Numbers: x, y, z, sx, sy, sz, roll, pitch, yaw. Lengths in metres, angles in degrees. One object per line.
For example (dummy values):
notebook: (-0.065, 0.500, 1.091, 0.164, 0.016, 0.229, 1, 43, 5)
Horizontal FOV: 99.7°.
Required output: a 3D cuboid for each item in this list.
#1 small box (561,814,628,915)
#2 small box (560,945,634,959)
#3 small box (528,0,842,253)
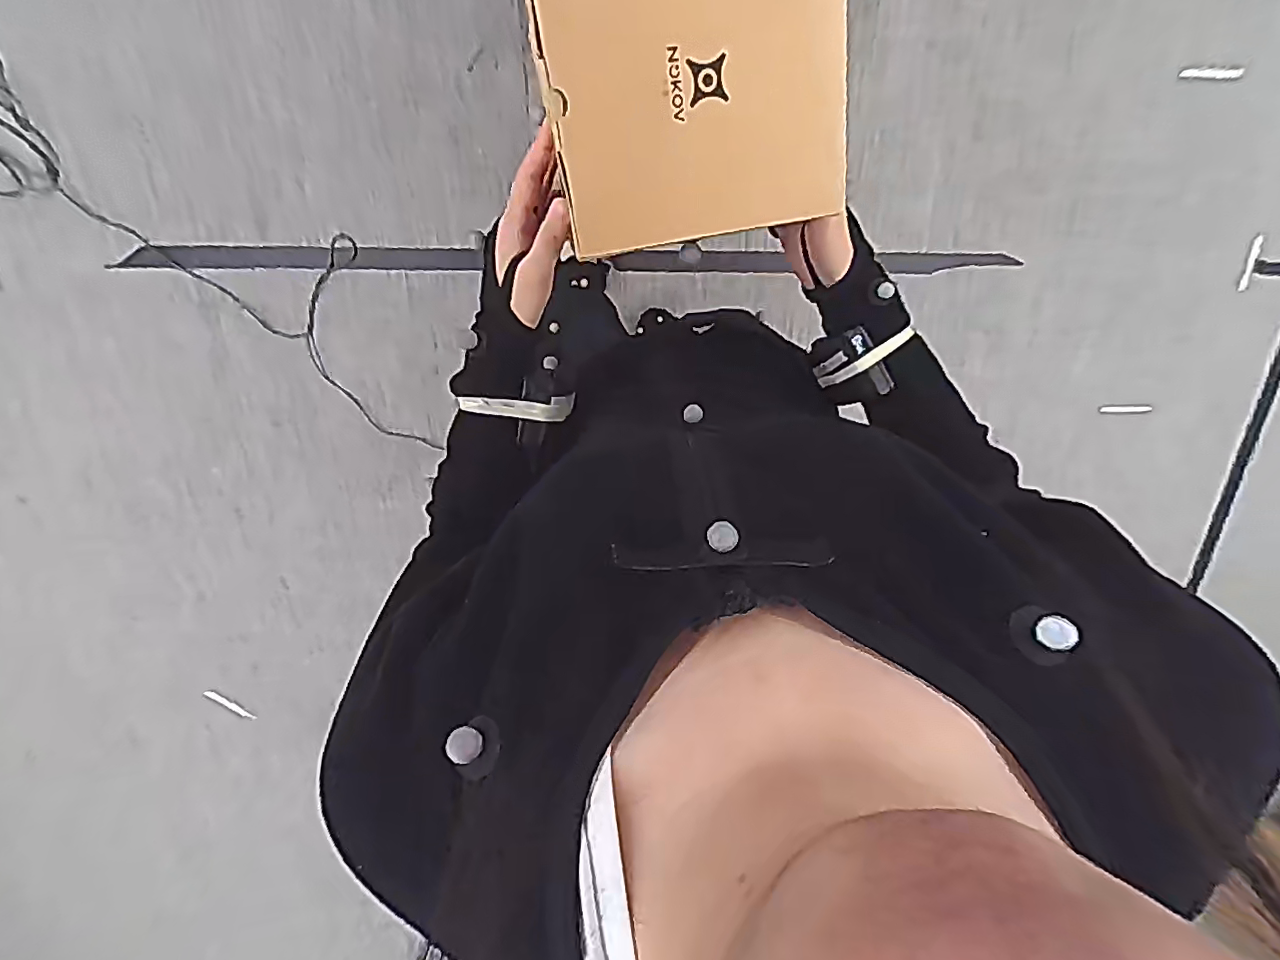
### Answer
small box: (-0.125, 1.064, 1.506, 0.179, 0.176, 0.168, -2, 109, -2)
small box: (-0.101, 1.177, 1.198, 0.179, 0.176, 0.168, 1, 110, -5)
small box: (0.023, -0.266, 0.383, 0.179, 0.176, 0.168, -10, 116, -1)
